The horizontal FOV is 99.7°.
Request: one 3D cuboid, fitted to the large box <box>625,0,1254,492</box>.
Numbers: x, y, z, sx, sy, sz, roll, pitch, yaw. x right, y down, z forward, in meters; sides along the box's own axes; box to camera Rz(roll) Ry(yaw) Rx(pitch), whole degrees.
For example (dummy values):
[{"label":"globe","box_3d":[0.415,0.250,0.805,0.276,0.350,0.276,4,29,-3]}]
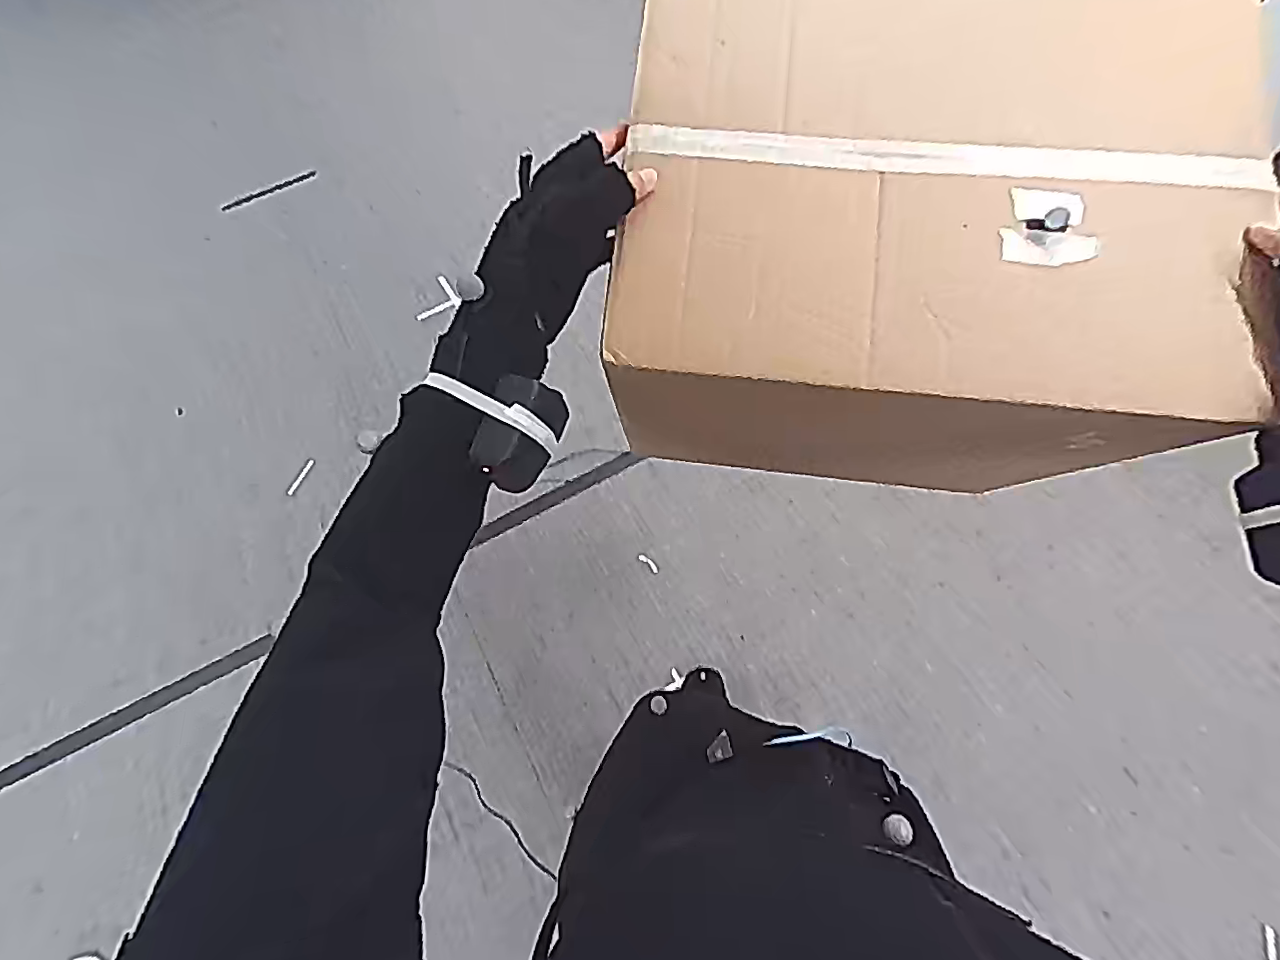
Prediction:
[{"label":"large box","box_3d":[0.206,-0.176,0.516,0.408,0.320,0.320,7,83,4]}]
